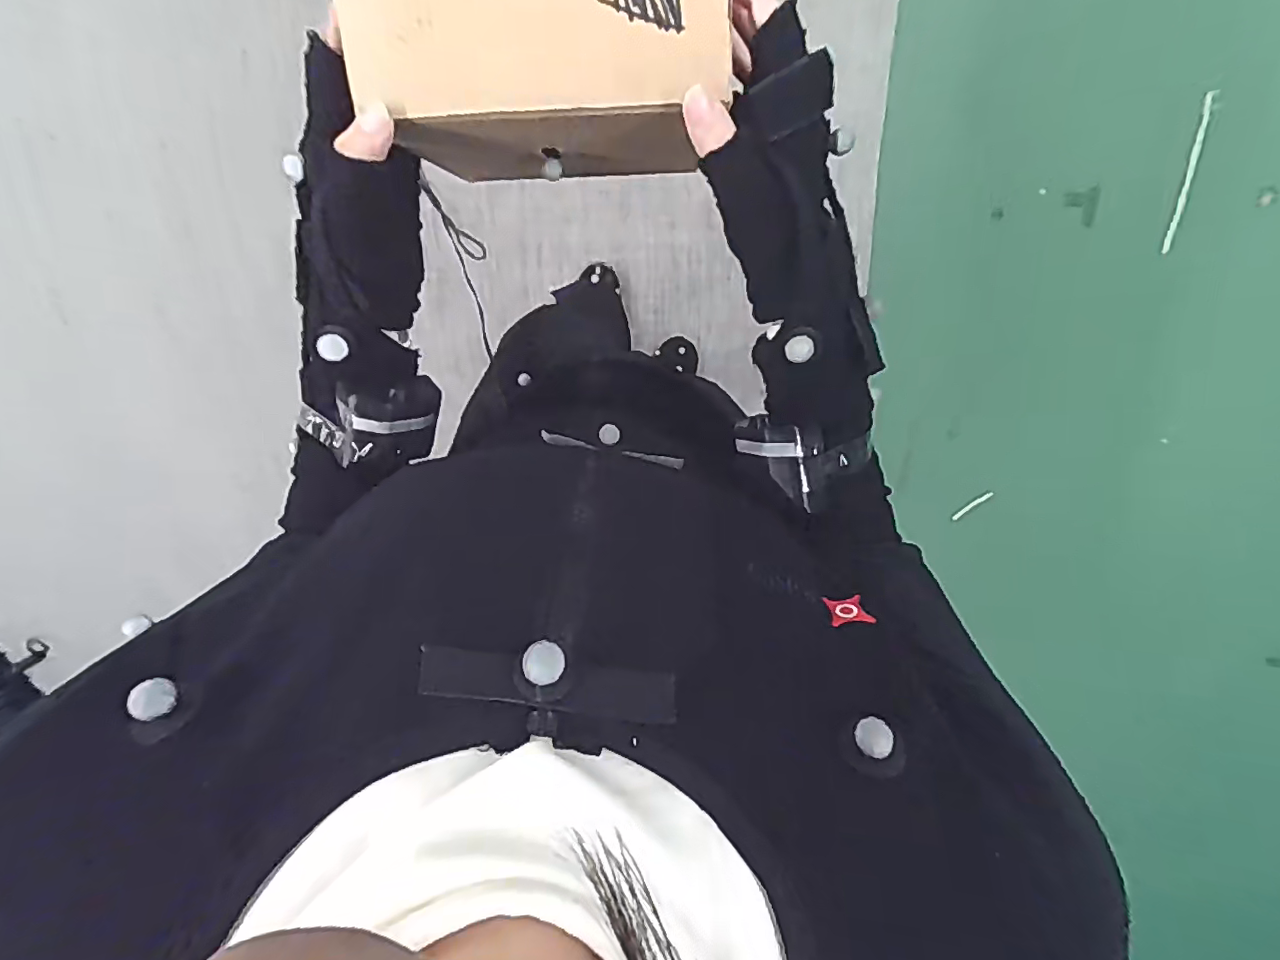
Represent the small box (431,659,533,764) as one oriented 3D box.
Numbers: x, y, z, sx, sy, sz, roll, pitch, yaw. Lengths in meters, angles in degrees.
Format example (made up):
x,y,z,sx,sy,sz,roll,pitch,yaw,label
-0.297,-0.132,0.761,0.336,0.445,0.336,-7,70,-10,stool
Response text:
x,y,z,sx,sy,sz,roll,pitch,yaw,label
-0.355,0.533,1.257,0.179,0.176,0.168,-3,108,5,small box
